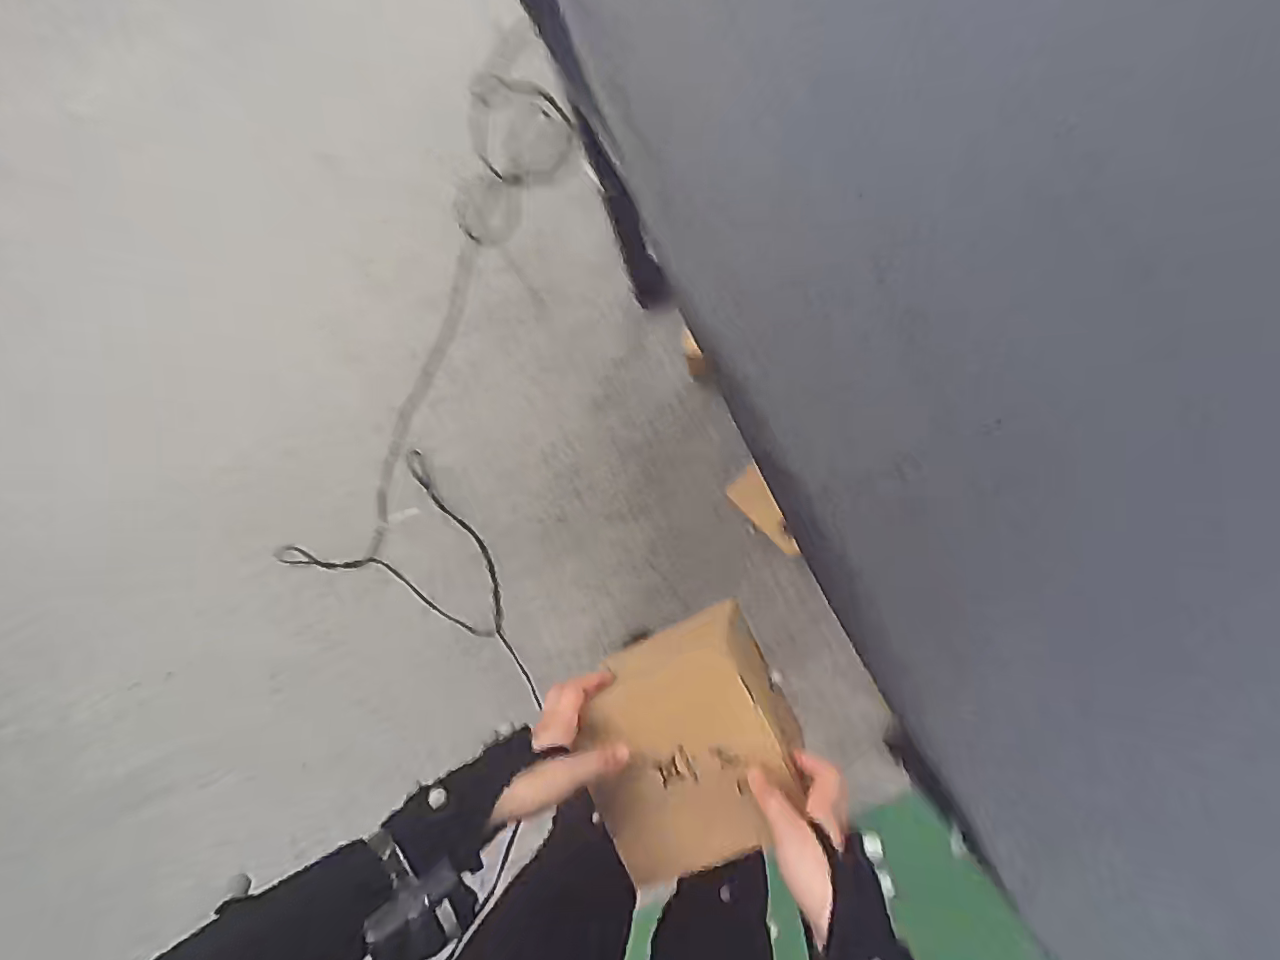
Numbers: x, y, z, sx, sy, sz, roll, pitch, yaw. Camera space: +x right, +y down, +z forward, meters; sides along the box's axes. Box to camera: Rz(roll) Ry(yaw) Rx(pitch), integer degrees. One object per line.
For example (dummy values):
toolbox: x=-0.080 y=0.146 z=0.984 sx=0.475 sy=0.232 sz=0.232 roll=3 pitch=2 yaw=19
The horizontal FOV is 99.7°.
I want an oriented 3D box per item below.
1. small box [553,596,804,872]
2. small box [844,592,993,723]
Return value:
small box: x=0.048 y=0.238 z=0.546 sx=0.179 sy=0.176 sz=0.168 roll=-28 pitch=84 yaw=12
small box: x=0.511 y=0.321 z=1.023 sx=0.168 sy=0.176 sz=0.179 roll=-23 pitch=83 yaw=5
